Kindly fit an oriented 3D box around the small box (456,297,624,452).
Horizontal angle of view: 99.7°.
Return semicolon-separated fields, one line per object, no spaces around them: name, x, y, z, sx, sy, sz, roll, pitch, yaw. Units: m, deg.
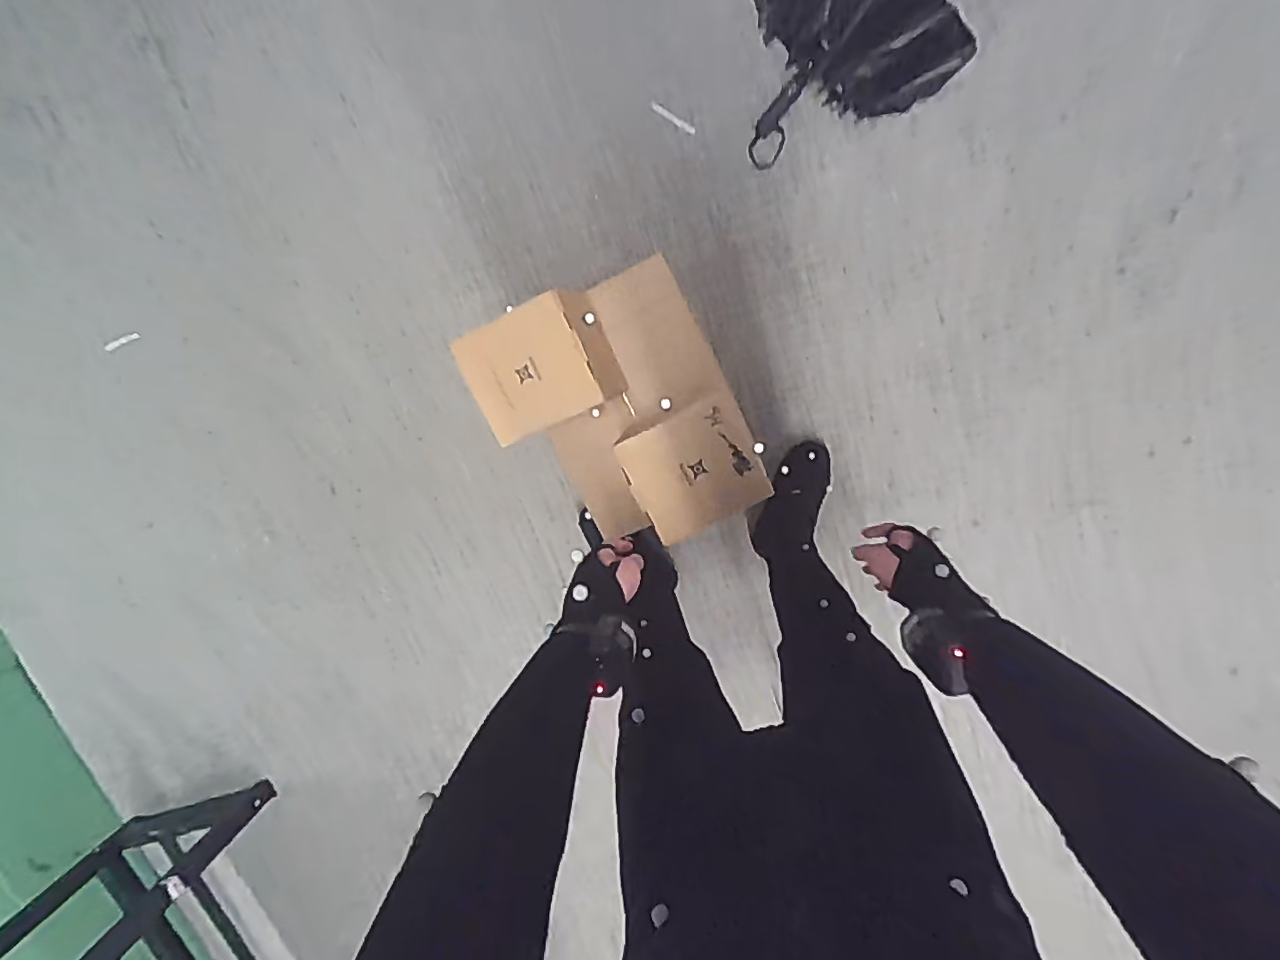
small box;-0.137;-0.165;0.831;0.179;0.176;0.168;-23;99;17
